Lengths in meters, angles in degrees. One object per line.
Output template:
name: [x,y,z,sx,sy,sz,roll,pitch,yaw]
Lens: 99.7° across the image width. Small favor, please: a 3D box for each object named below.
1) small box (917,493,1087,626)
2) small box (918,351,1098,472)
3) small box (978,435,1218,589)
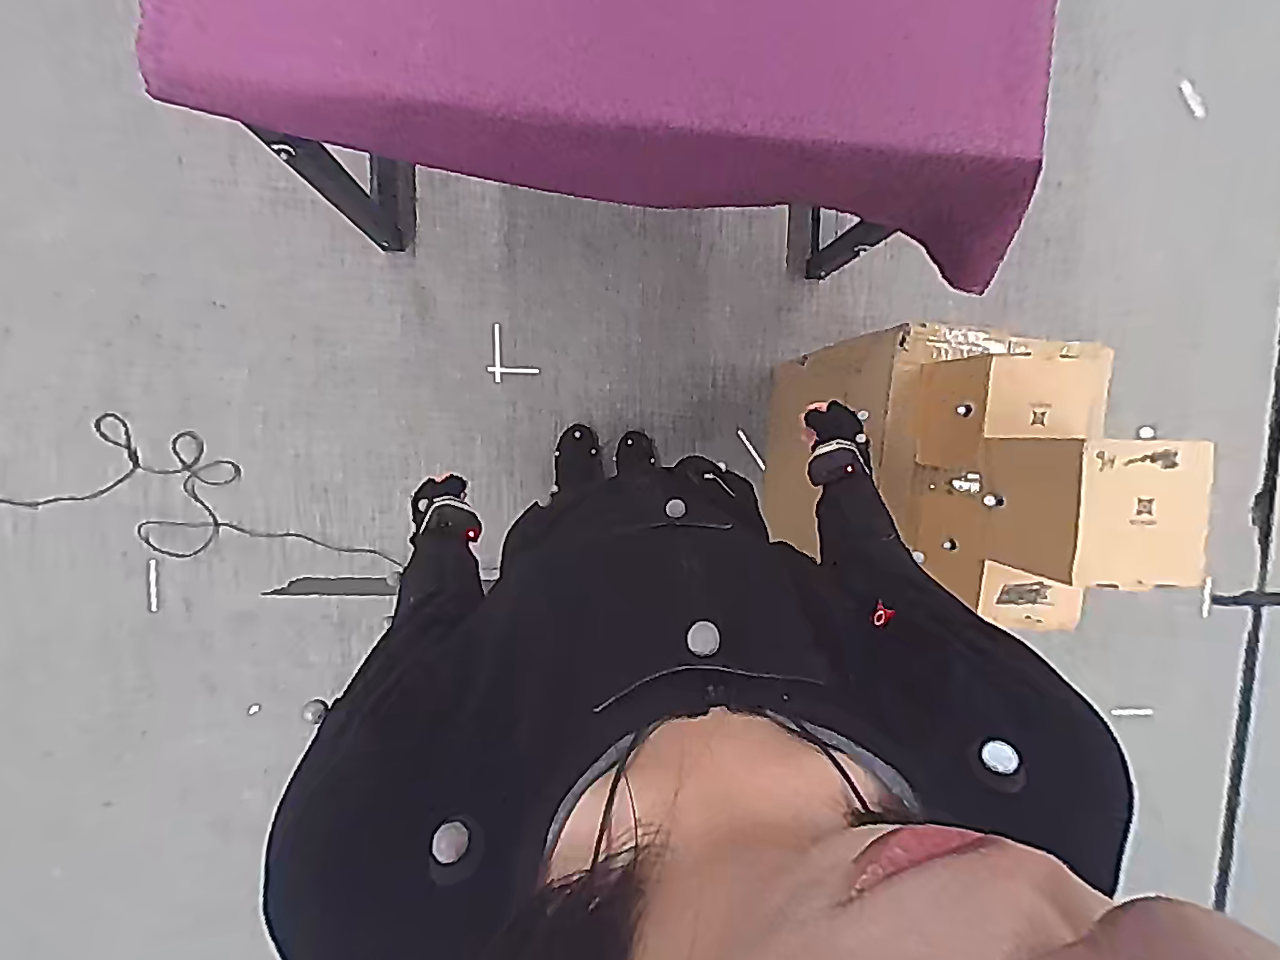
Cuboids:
small box: [0.578,0.120,0.875,0.168,0.176,0.179,5,92,-5]
small box: [0.569,-0.101,0.858,0.168,0.176,0.179,2,96,-5]
small box: [0.576,0.033,0.705,0.168,0.176,0.179,1,94,-5]
